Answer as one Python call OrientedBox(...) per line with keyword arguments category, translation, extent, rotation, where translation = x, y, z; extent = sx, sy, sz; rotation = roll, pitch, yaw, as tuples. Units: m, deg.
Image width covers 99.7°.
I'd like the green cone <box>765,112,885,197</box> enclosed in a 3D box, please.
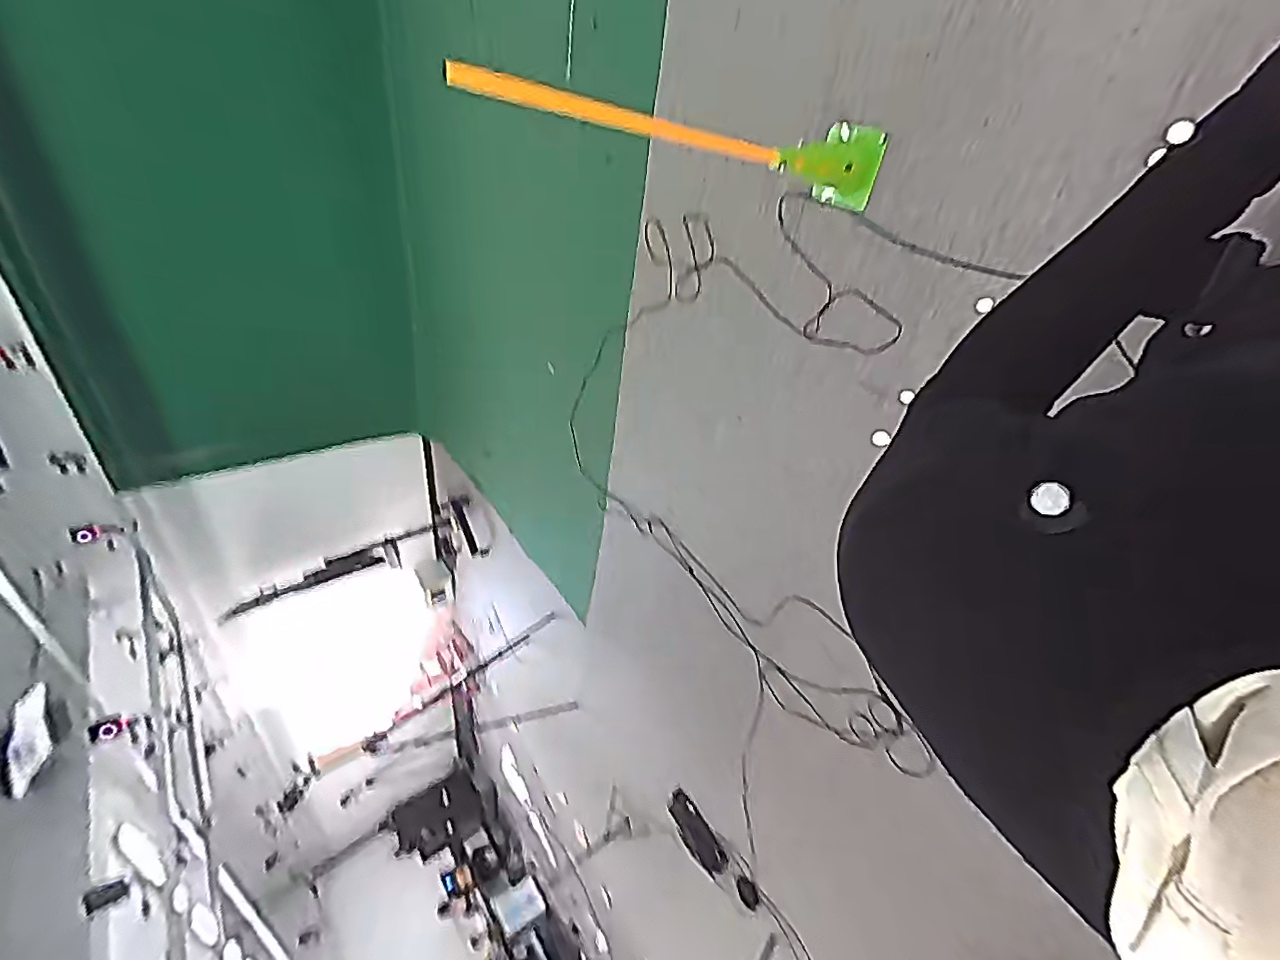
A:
OrientedBox(category="green cone", translation=(0.480, -0.921, 1.515), extent=(0.200, 0.368, 0.202), rotation=(41, 137, 36))
